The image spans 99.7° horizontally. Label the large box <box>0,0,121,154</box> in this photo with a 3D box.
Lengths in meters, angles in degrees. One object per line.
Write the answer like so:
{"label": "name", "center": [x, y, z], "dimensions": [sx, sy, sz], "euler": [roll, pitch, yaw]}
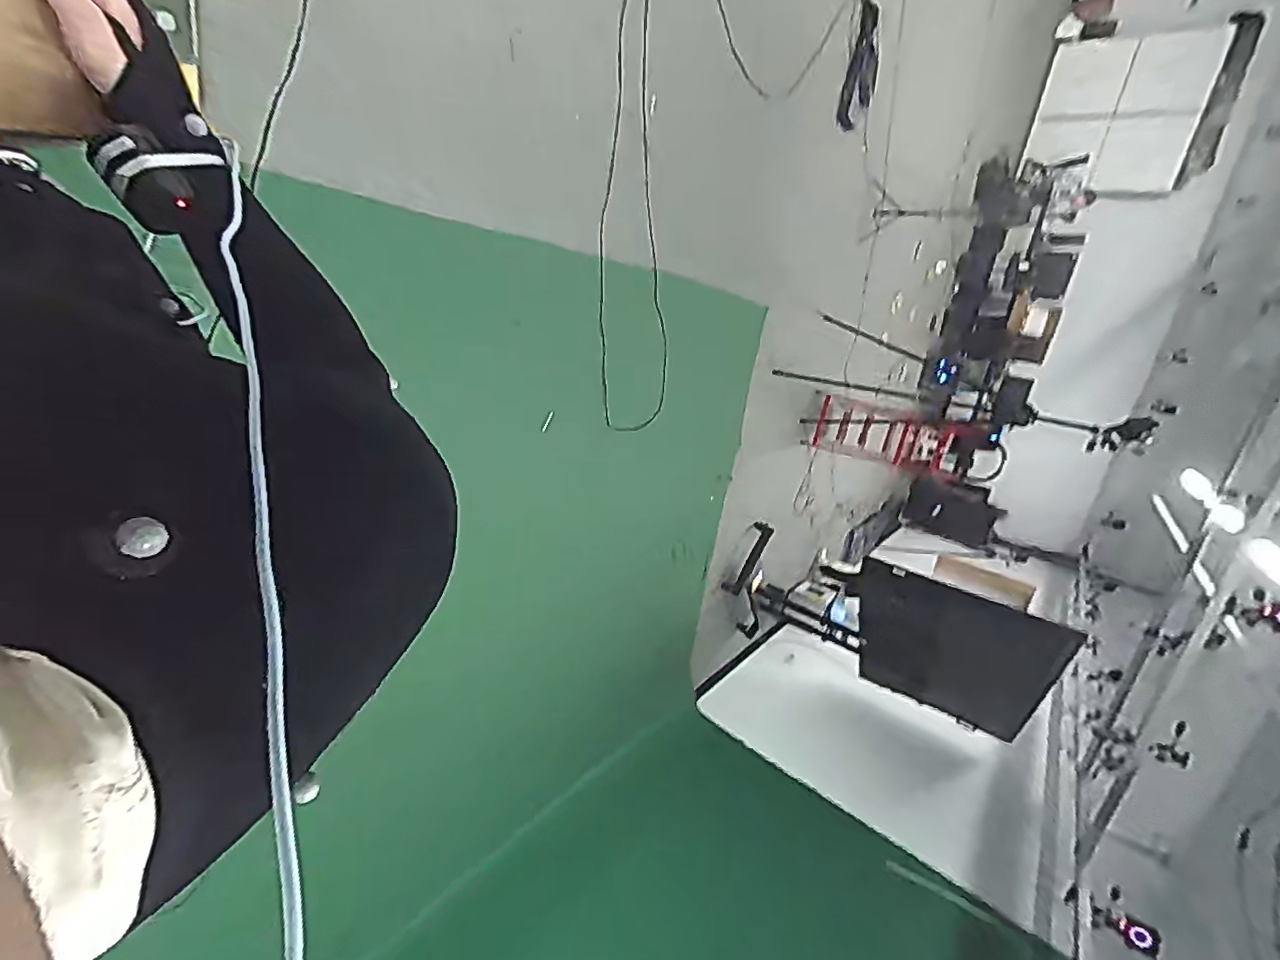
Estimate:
{"label": "large box", "center": [-0.673, -0.405, 0.340], "dimensions": [0.408, 0.320, 0.320], "euler": [-25, 129, -44]}
